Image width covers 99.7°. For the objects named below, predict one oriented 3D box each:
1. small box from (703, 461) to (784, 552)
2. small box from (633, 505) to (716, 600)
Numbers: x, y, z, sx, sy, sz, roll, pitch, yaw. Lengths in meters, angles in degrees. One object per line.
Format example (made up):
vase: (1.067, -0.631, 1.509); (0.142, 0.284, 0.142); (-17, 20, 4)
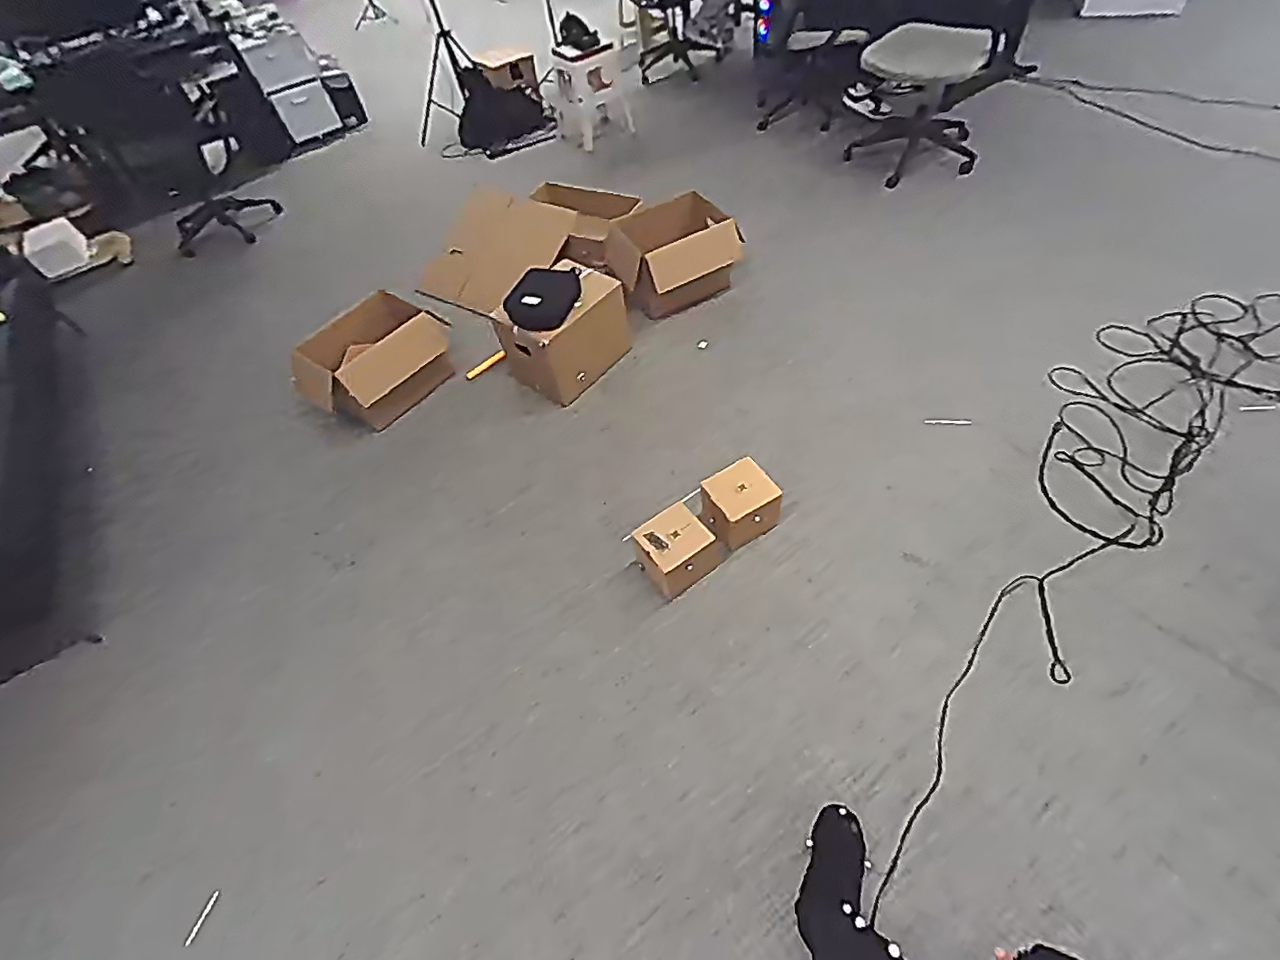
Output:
small box: (0.303, 0.082, 1.608); (0.179, 0.176, 0.168); (-29, 54, -10)
small box: (0.105, 0.212, 1.545); (0.179, 0.176, 0.168); (-32, 55, -15)
